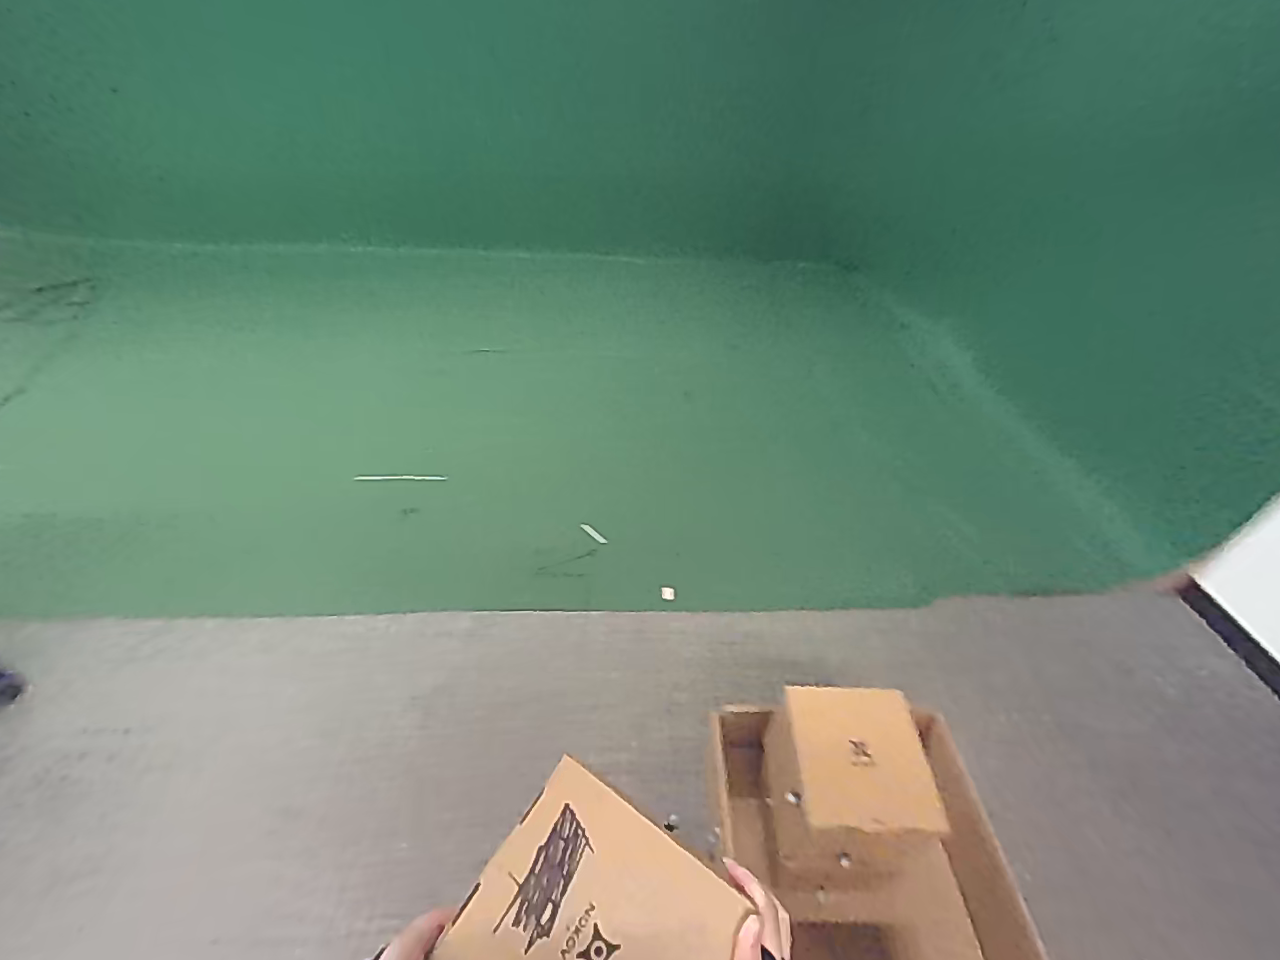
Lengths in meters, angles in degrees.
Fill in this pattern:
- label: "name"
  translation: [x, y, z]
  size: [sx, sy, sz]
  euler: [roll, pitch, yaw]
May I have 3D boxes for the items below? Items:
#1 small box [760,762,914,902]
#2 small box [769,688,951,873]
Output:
- label: "small box"
  translation: [0.293, 0.534, 0.851]
  size: [0.168, 0.176, 0.179]
  euler: [2, 43, 0]
- label: "small box"
  translation: [0.282, 0.412, 0.744]
  size: [0.168, 0.176, 0.179]
  euler: [2, 43, 1]
